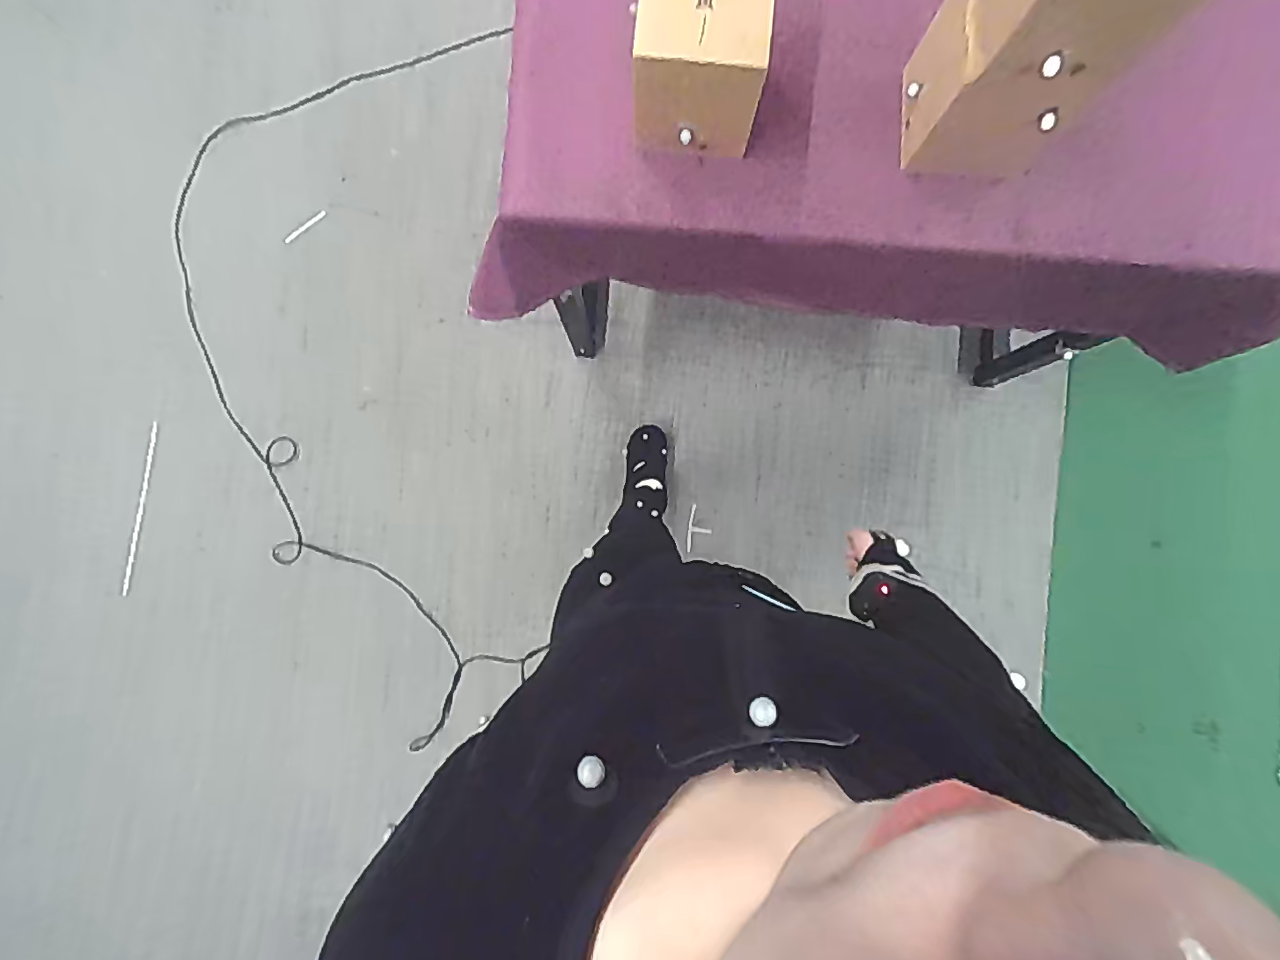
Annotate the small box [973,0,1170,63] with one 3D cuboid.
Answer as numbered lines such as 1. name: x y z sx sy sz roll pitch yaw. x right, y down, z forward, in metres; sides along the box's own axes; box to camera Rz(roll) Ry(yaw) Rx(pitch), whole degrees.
1. small box: 0.476 -0.587 0.561 0.168 0.176 0.179 3 87 1

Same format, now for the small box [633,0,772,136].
1. small box: 0.081 -0.611 0.729 0.168 0.176 0.179 6 87 1

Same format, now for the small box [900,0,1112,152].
1. small box: 0.478 -0.573 0.723 0.179 0.176 0.168 4 85 1
